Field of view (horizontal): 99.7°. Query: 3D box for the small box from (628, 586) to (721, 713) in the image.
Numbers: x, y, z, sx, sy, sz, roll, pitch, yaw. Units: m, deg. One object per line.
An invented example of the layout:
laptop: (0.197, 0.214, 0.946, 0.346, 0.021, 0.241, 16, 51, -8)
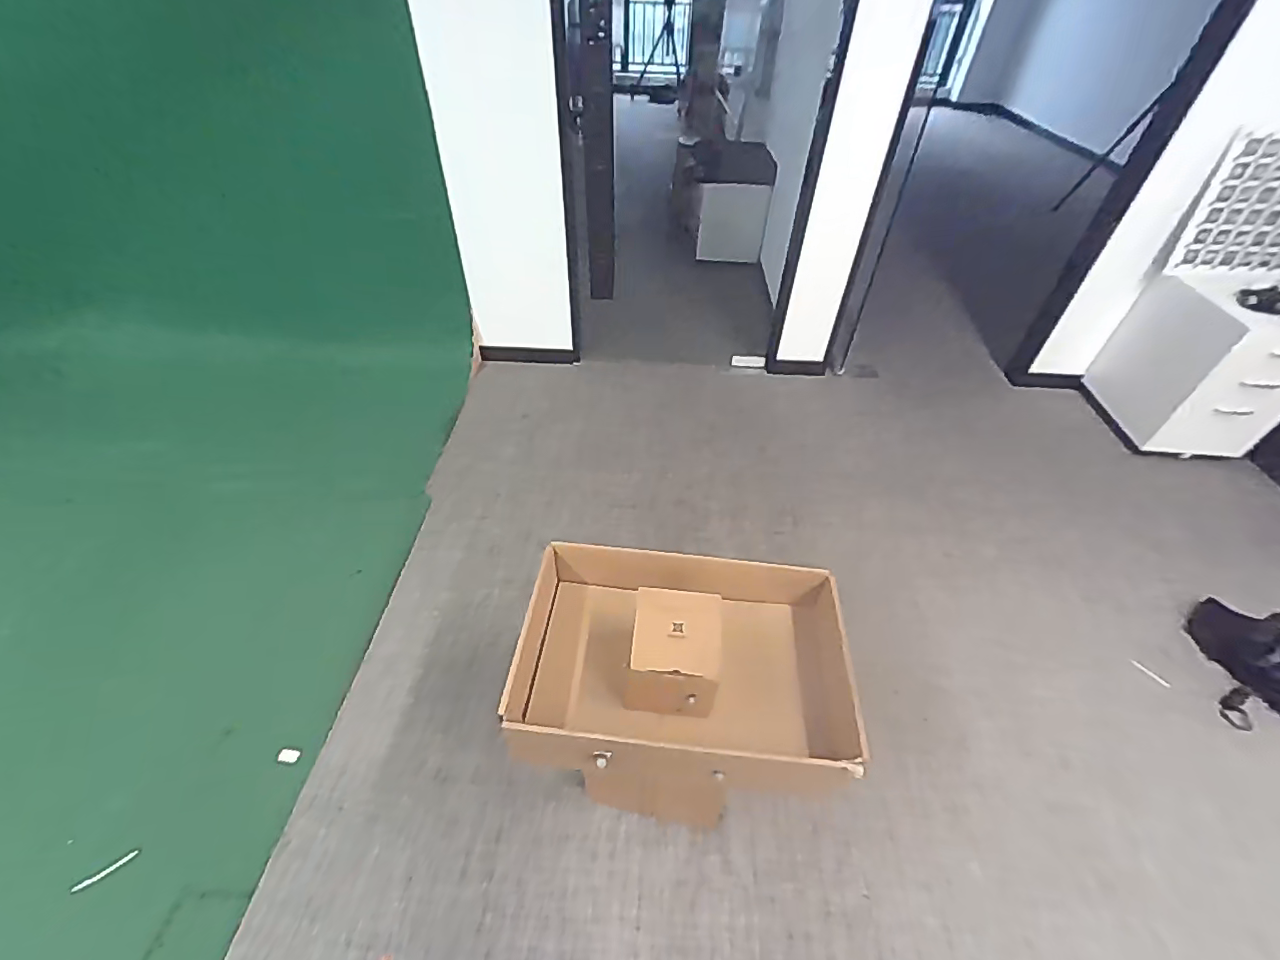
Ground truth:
small box: (0.066, 0.336, 1.063, 0.168, 0.176, 0.179, 6, 42, 1)
